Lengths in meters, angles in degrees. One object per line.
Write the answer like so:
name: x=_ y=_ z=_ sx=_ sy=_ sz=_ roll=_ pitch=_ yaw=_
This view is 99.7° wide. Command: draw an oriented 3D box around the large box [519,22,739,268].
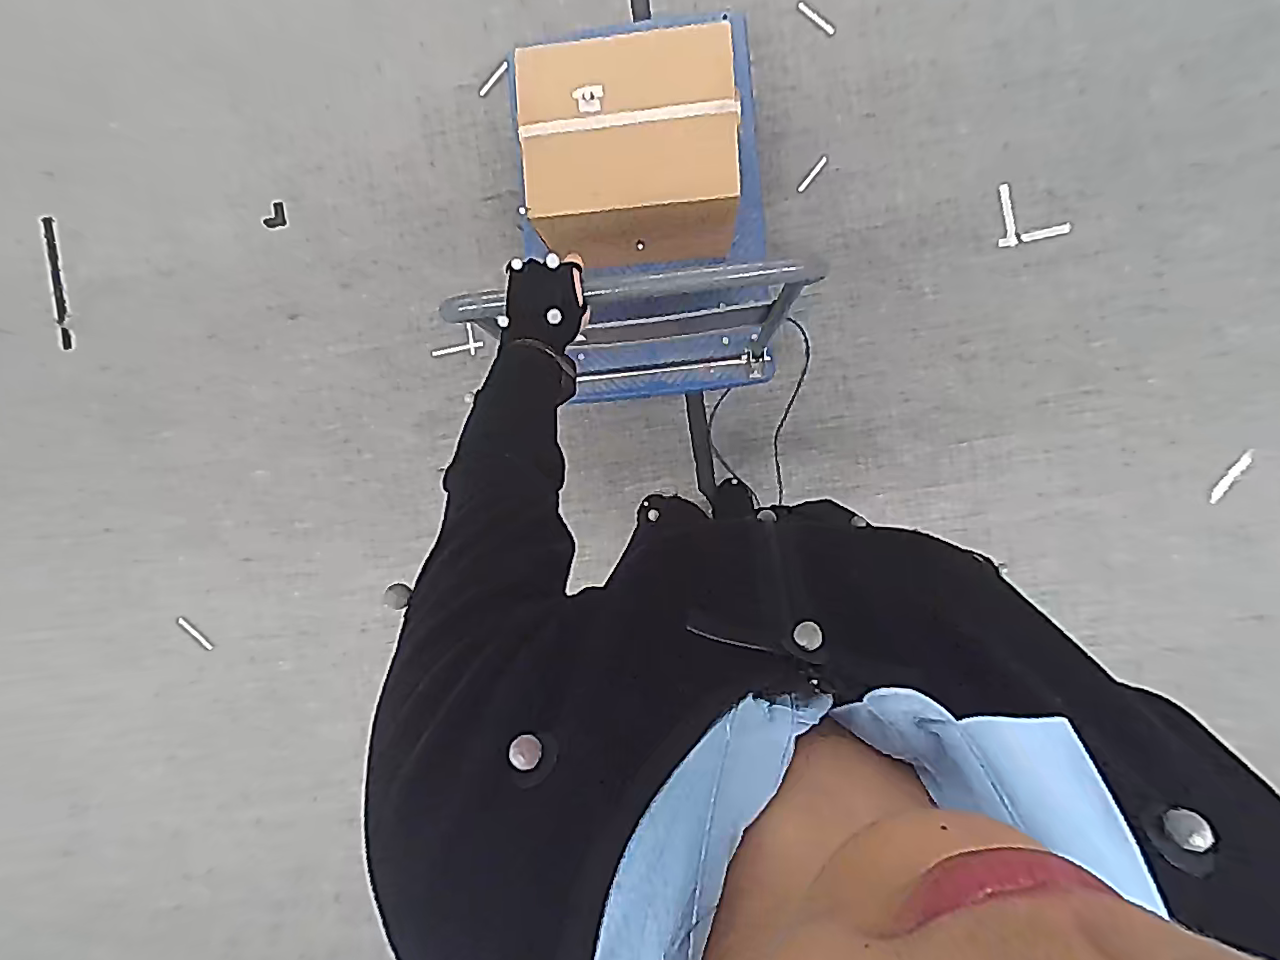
large box: x=-0.007 y=-0.677 z=1.160 sx=0.408 sy=0.320 sz=0.320 roll=-4 pitch=92 yaw=7
